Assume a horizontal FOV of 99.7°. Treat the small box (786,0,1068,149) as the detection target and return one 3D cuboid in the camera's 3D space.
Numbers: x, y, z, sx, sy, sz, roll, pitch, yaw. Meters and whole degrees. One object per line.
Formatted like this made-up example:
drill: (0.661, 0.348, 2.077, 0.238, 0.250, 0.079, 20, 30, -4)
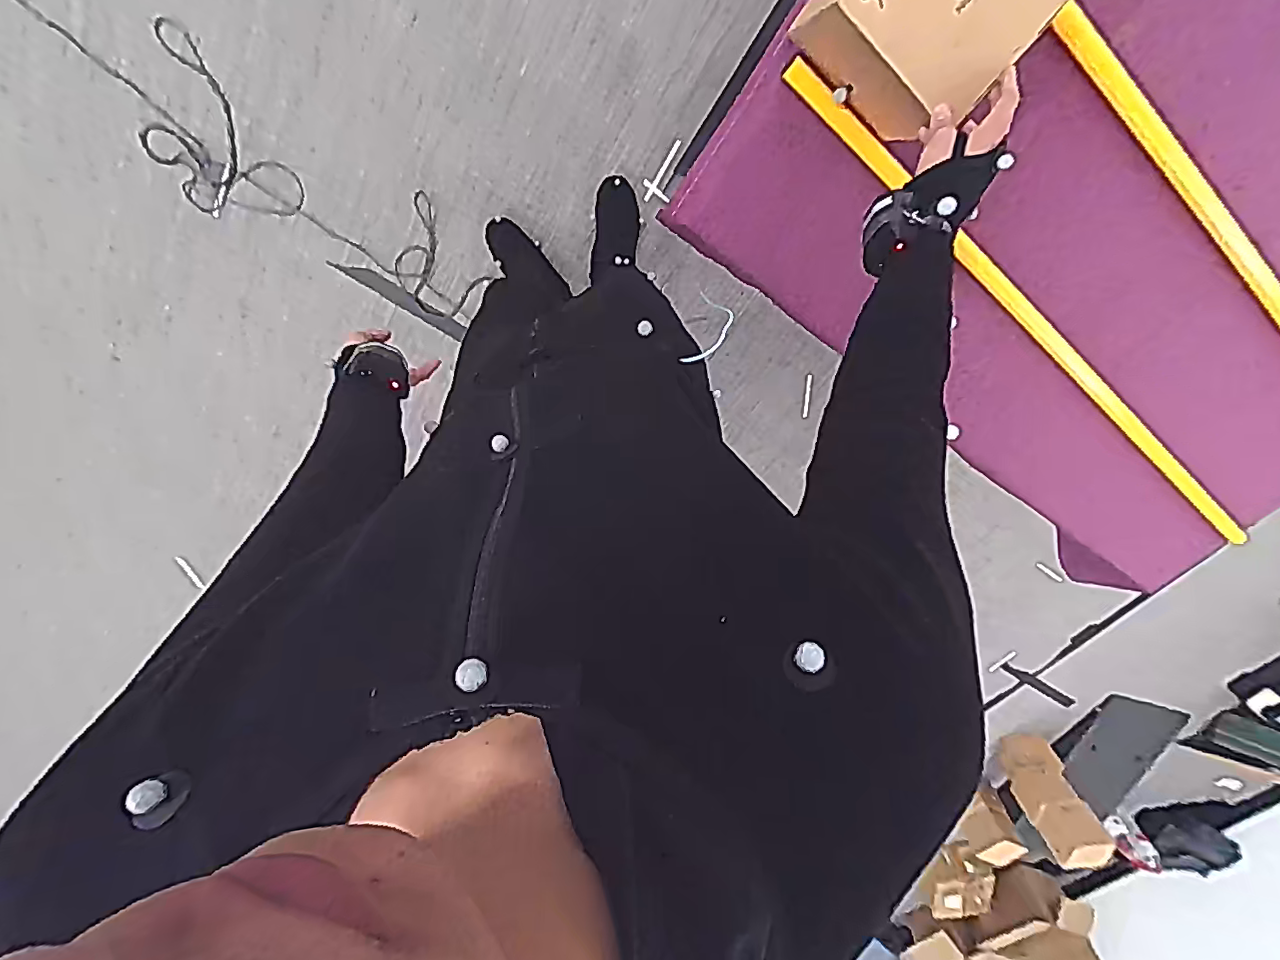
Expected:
small box: (0.287, -0.489, 0.573, 0.179, 0.176, 0.168, 33, 115, -21)
